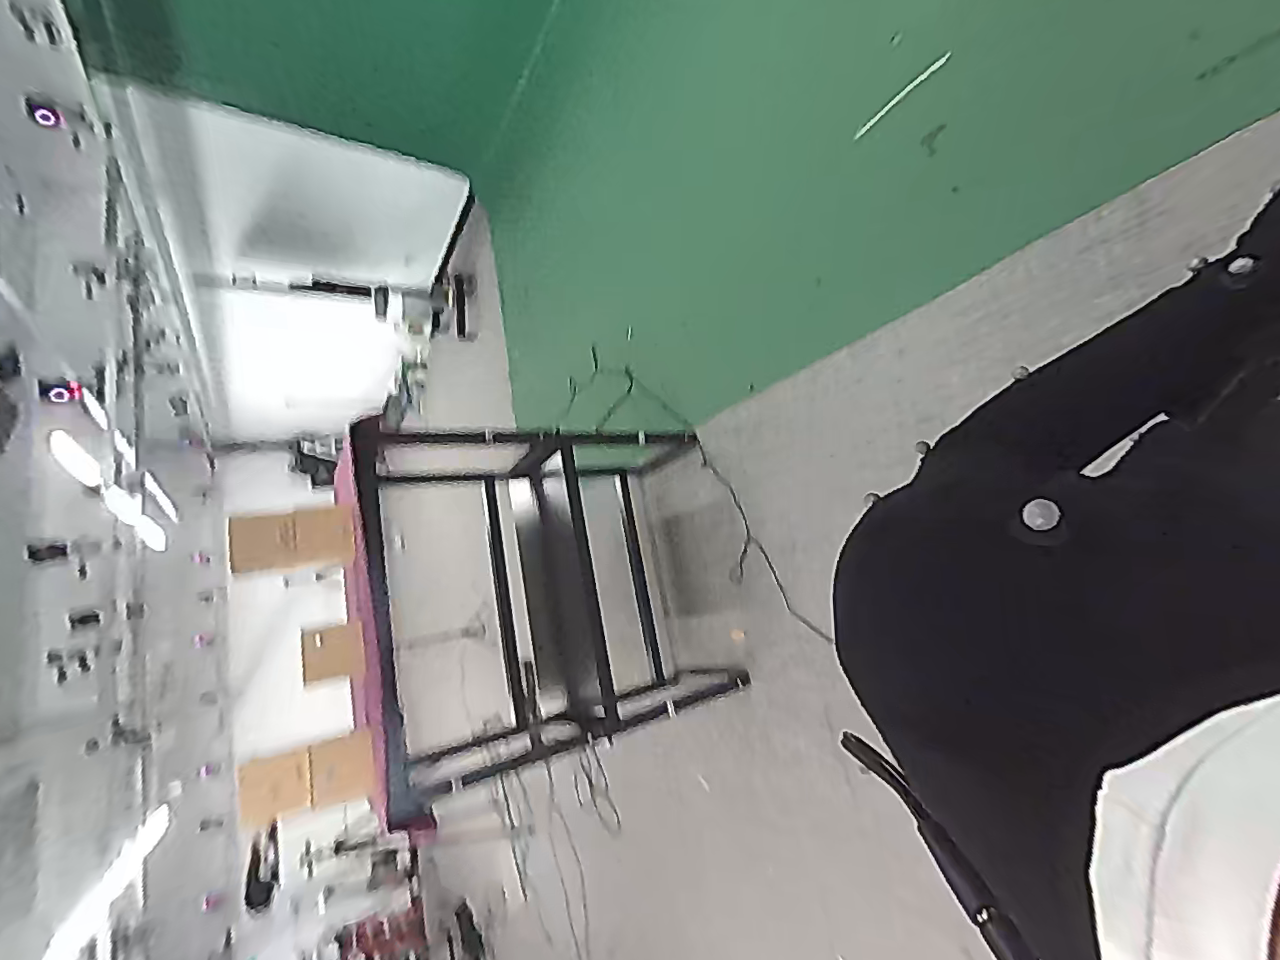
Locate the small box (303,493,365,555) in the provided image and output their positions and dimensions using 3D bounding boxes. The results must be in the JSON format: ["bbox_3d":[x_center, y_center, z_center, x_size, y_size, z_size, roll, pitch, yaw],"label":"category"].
[{"bbox_3d":[-1.022,0.145,1.800,0.168,0.176,0.179,-29,68,56],"label":"small box"}]

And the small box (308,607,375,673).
[{"bbox_3d":[-0.955,0.505,1.726,0.168,0.176,0.179,-27,70,55],"label":"small box"}]

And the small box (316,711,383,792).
[{"bbox_3d":[-0.888,0.820,1.649,0.168,0.176,0.179,-32,65,53],"label":"small box"}]
